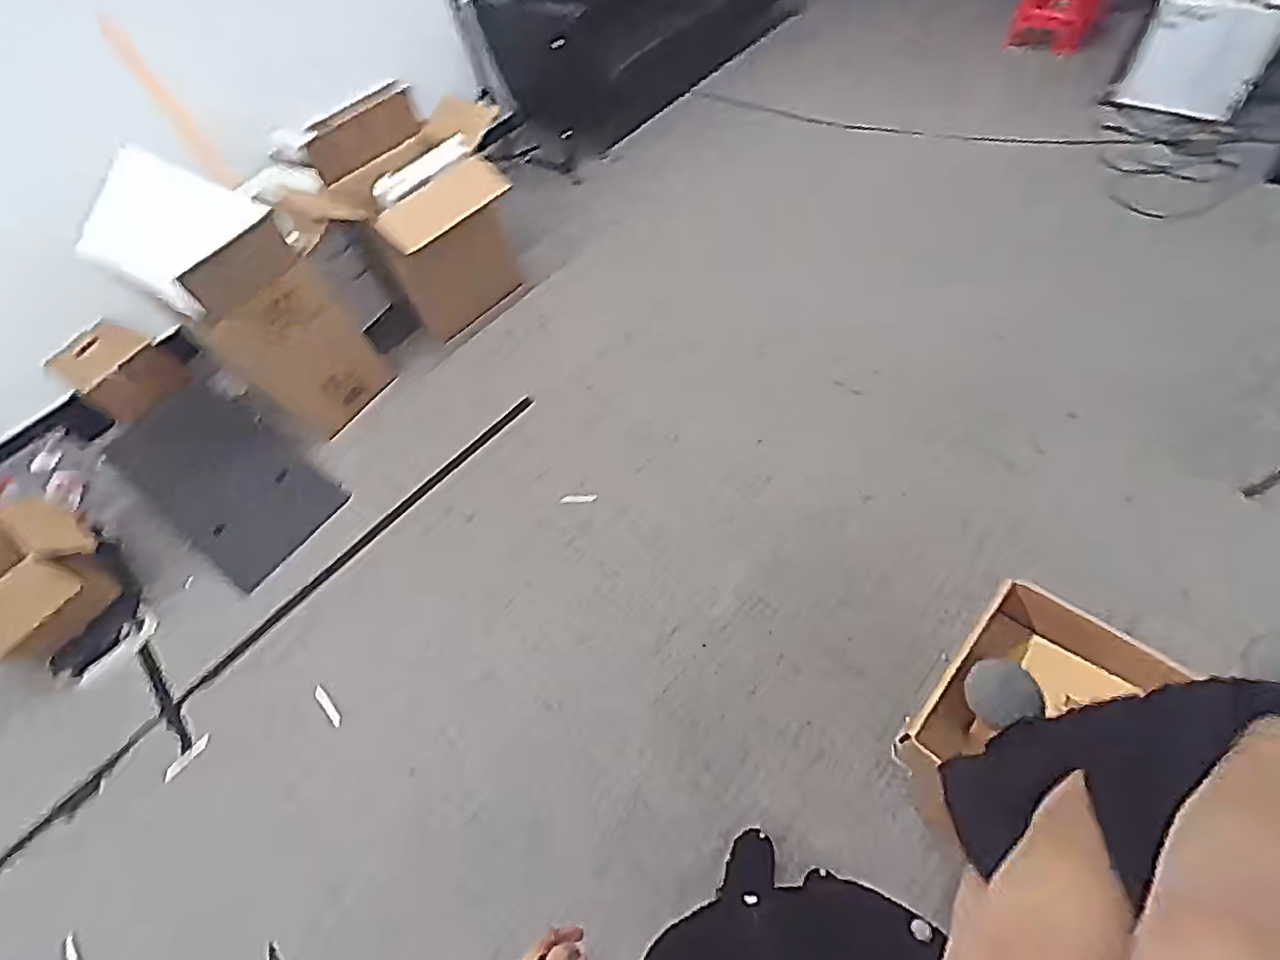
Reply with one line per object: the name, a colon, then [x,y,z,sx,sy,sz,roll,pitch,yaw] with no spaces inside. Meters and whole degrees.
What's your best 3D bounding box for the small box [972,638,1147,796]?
small box: [0.712,0.413,0.937,0.168,0.176,0.179,30,67,28]
